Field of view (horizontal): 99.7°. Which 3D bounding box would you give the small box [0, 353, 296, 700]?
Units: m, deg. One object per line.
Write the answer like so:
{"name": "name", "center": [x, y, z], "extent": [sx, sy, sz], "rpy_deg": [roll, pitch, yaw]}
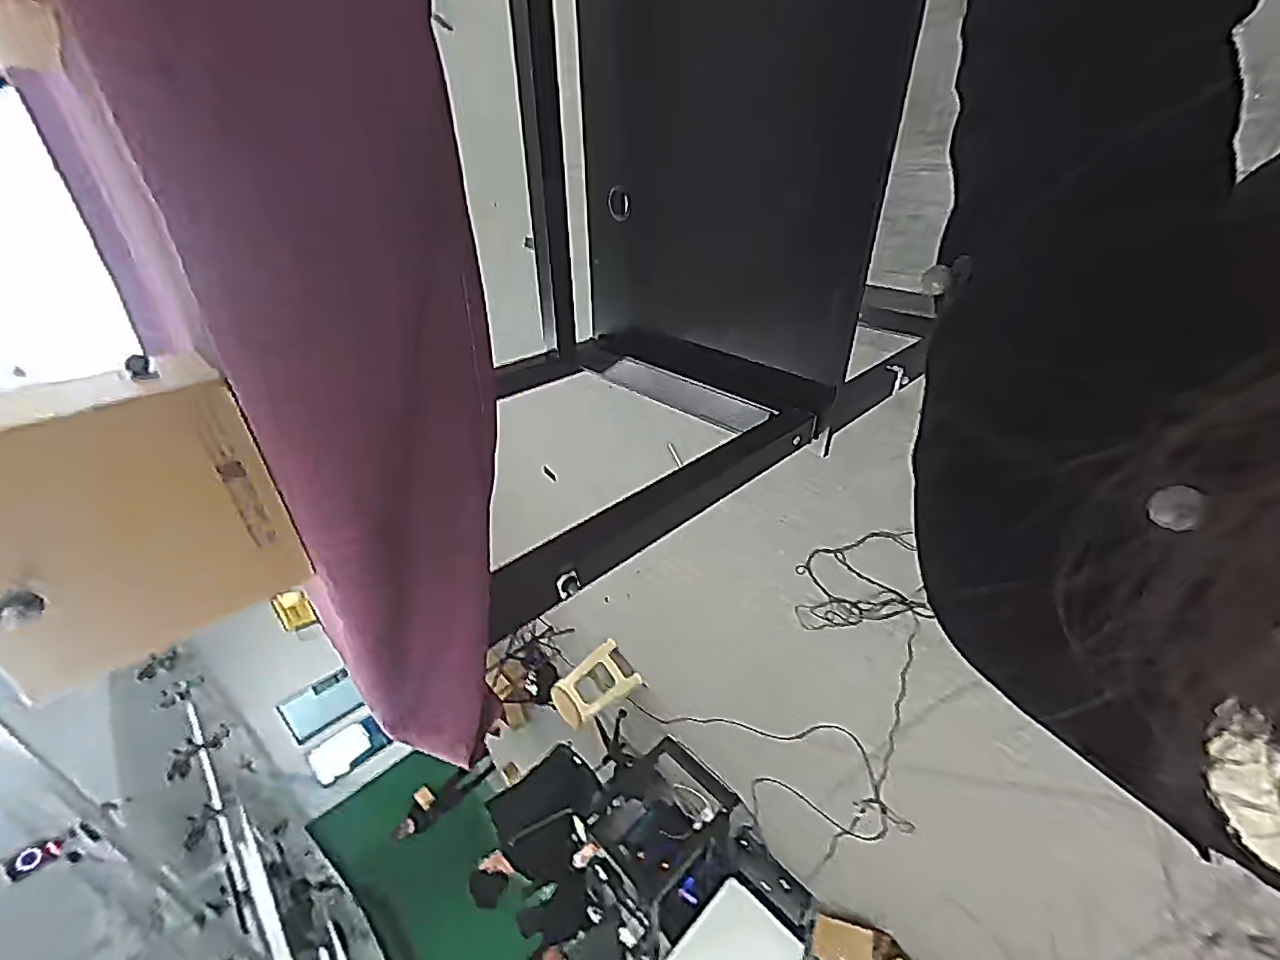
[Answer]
{"name": "small box", "center": [-0.383, 0.011, 0.396], "extent": [0.179, 0.176, 0.168], "rpy_deg": [22, 129, 43]}

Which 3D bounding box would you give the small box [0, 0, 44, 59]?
{"name": "small box", "center": [-0.392, -0.282, 0.212], "extent": [0.179, 0.176, 0.168], "rpy_deg": [26, 132, 40]}
